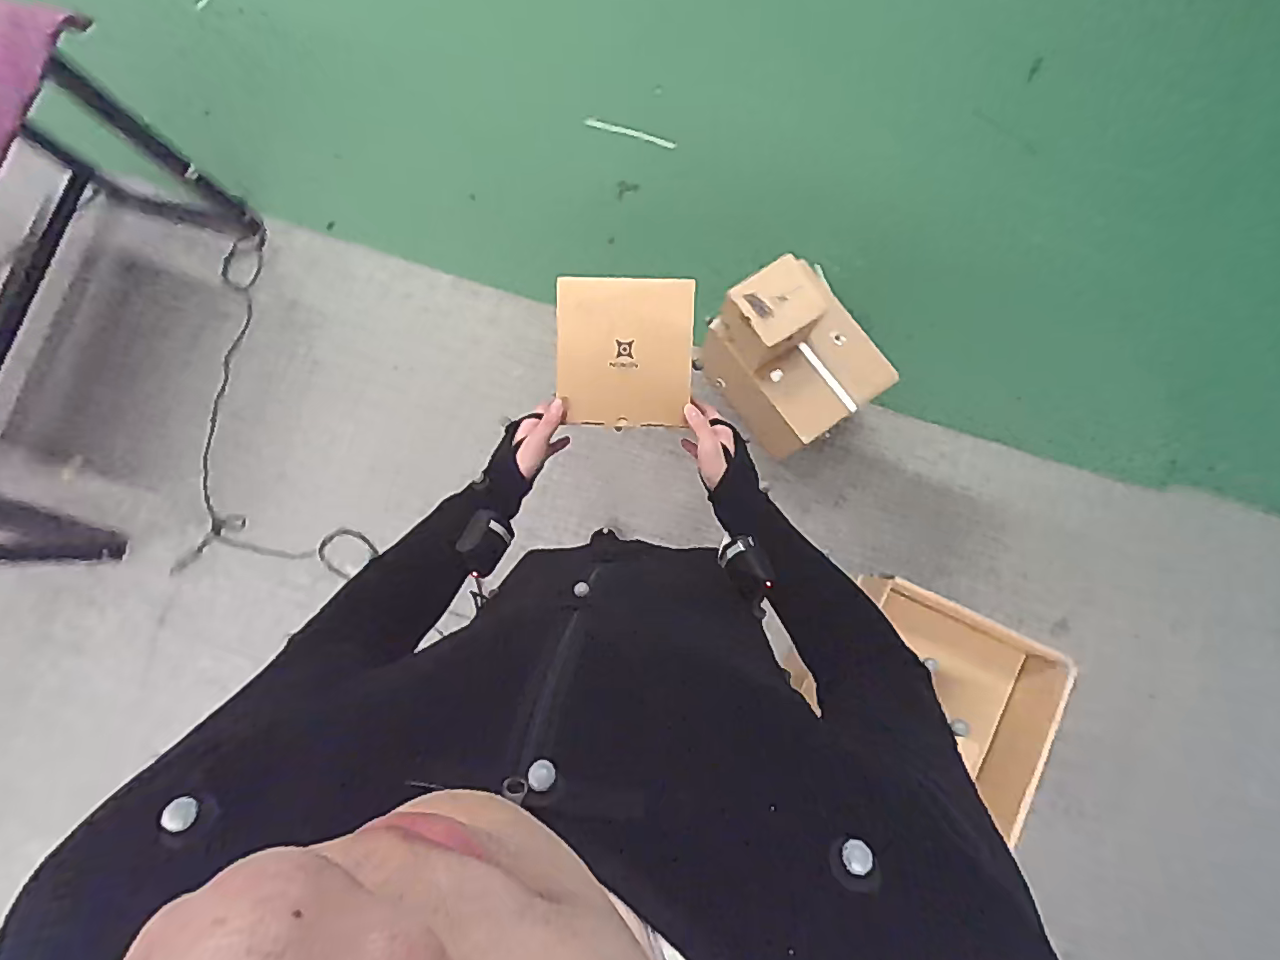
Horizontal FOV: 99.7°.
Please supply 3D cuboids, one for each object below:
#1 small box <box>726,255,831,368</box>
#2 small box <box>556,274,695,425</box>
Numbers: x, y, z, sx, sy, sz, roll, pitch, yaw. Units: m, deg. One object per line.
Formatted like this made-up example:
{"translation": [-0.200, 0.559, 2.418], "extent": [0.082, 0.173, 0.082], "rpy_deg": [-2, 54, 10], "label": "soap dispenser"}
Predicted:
{"translation": [0.323, -0.398, 1.311], "extent": [0.179, 0.176, 0.168], "rpy_deg": [-32, 84, -3], "label": "small box"}
{"translation": [-0.019, -0.167, 0.723], "extent": [0.168, 0.176, 0.179], "rpy_deg": [1, 100, 0], "label": "small box"}
